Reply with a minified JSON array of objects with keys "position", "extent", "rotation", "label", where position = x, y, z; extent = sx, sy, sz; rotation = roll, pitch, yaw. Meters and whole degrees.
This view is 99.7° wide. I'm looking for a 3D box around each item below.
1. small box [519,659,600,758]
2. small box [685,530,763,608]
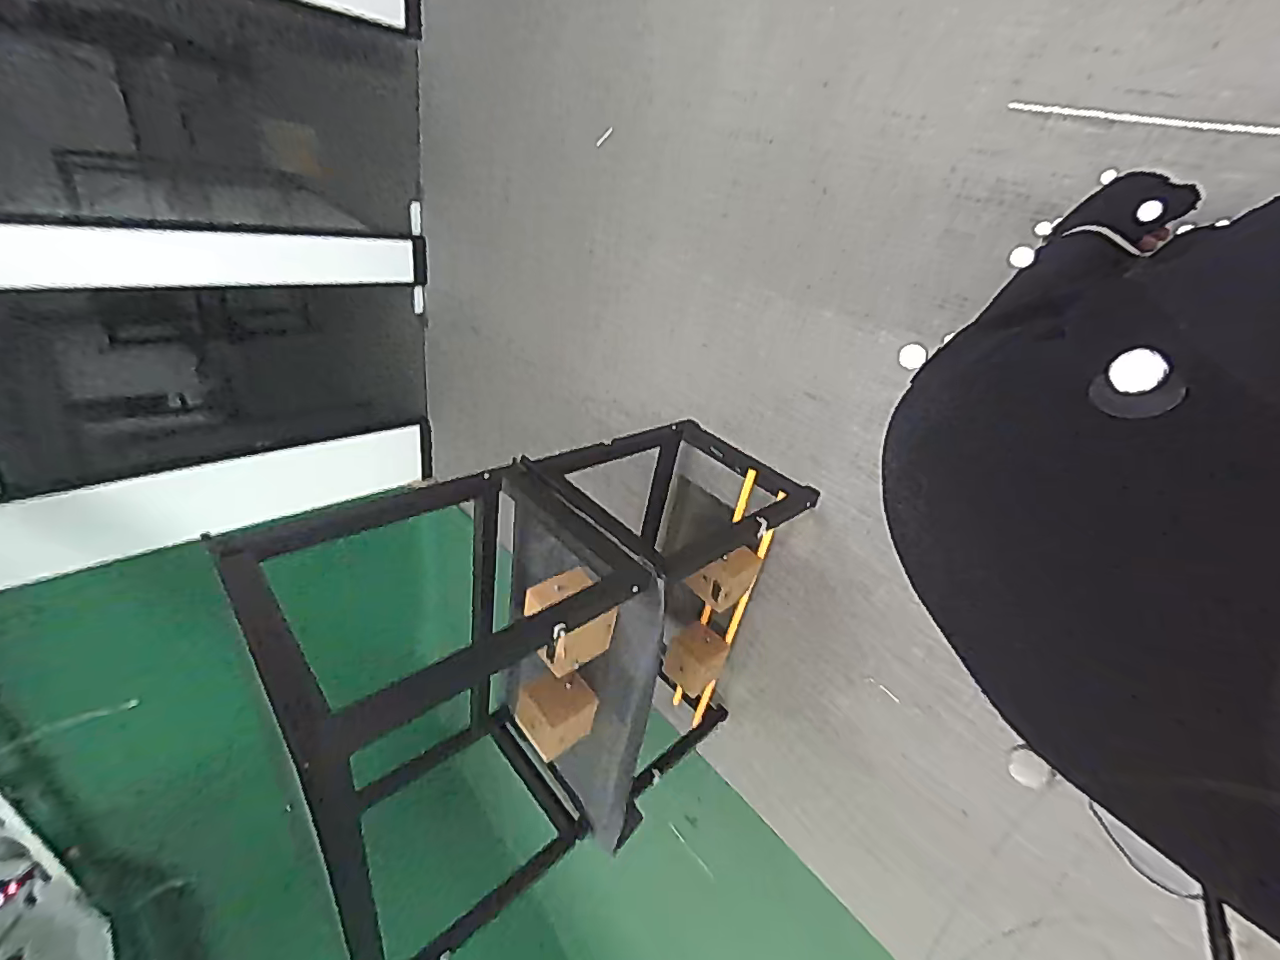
[{"position":[-0.239,0.673,1.604],"extent":[0.168,0.176,0.179],"rotation":[38,130,32],"label":"small box"},{"position":[0.286,0.294,1.835],"extent":[0.179,0.176,0.168],"rotation":[38,130,32],"label":"small box"}]
